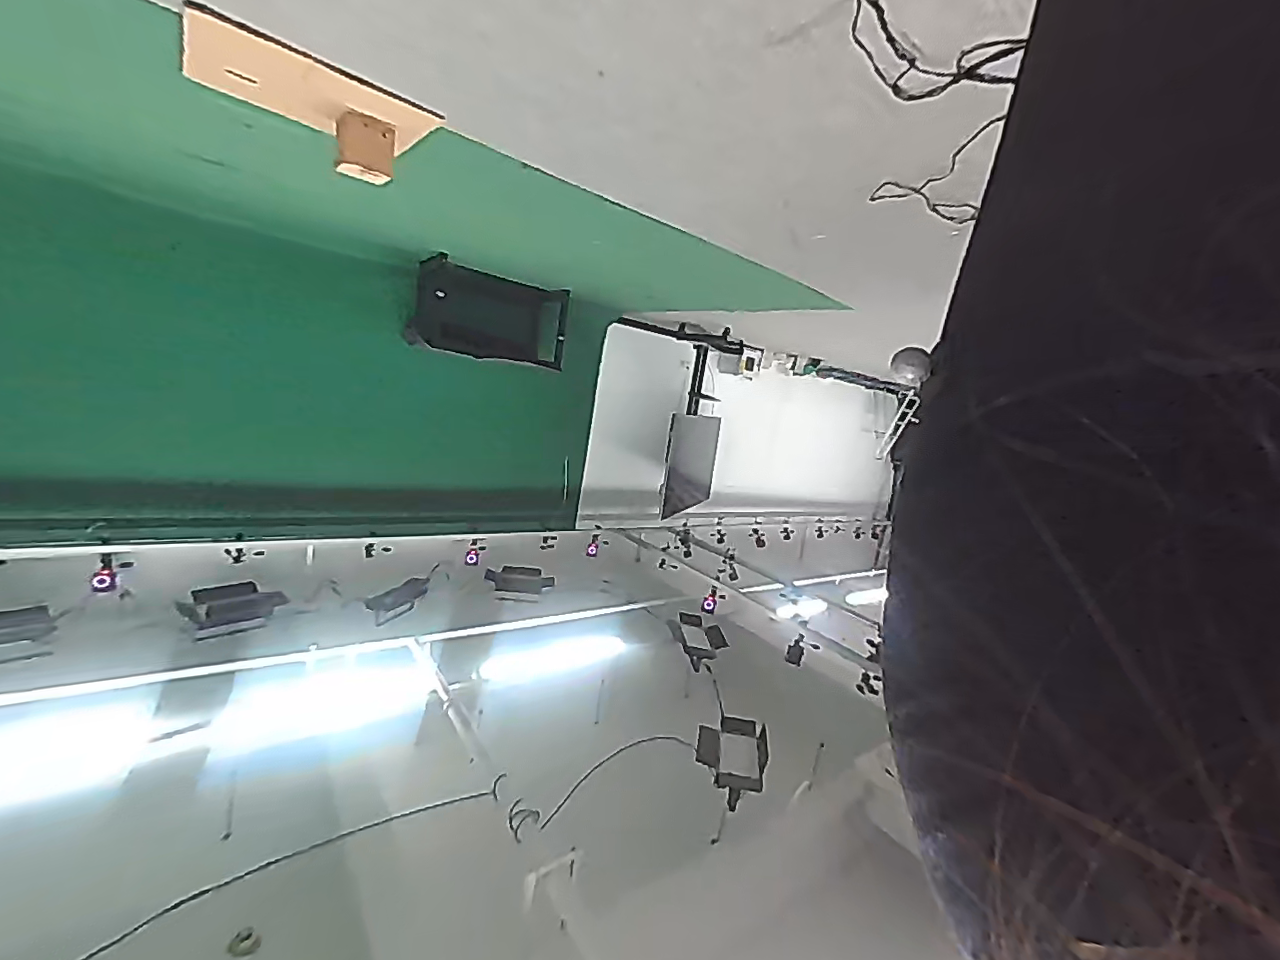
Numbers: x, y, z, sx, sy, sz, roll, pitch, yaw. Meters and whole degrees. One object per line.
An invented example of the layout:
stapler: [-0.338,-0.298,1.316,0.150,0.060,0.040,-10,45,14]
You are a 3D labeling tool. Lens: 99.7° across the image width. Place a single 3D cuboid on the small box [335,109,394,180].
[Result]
small box: [-1.041,-1.266,2.042,0.168,0.176,0.179,1,-166,-42]
